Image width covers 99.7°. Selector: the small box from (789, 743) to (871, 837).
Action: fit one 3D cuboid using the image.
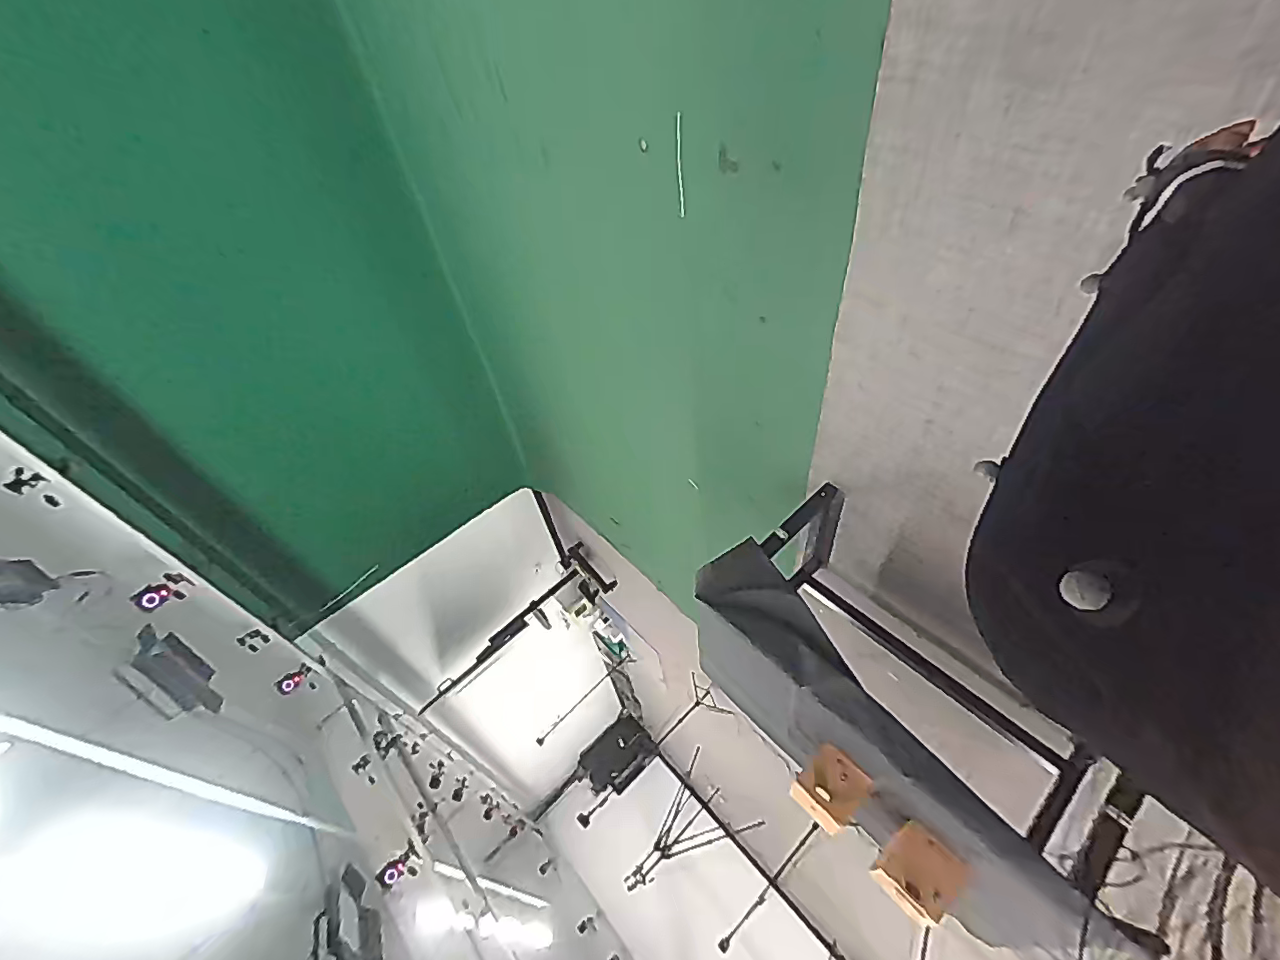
[{"bbox_3d":[0.588,0.956,1.673,0.168,0.176,0.179,38,153,34],"label":"small box"}]
